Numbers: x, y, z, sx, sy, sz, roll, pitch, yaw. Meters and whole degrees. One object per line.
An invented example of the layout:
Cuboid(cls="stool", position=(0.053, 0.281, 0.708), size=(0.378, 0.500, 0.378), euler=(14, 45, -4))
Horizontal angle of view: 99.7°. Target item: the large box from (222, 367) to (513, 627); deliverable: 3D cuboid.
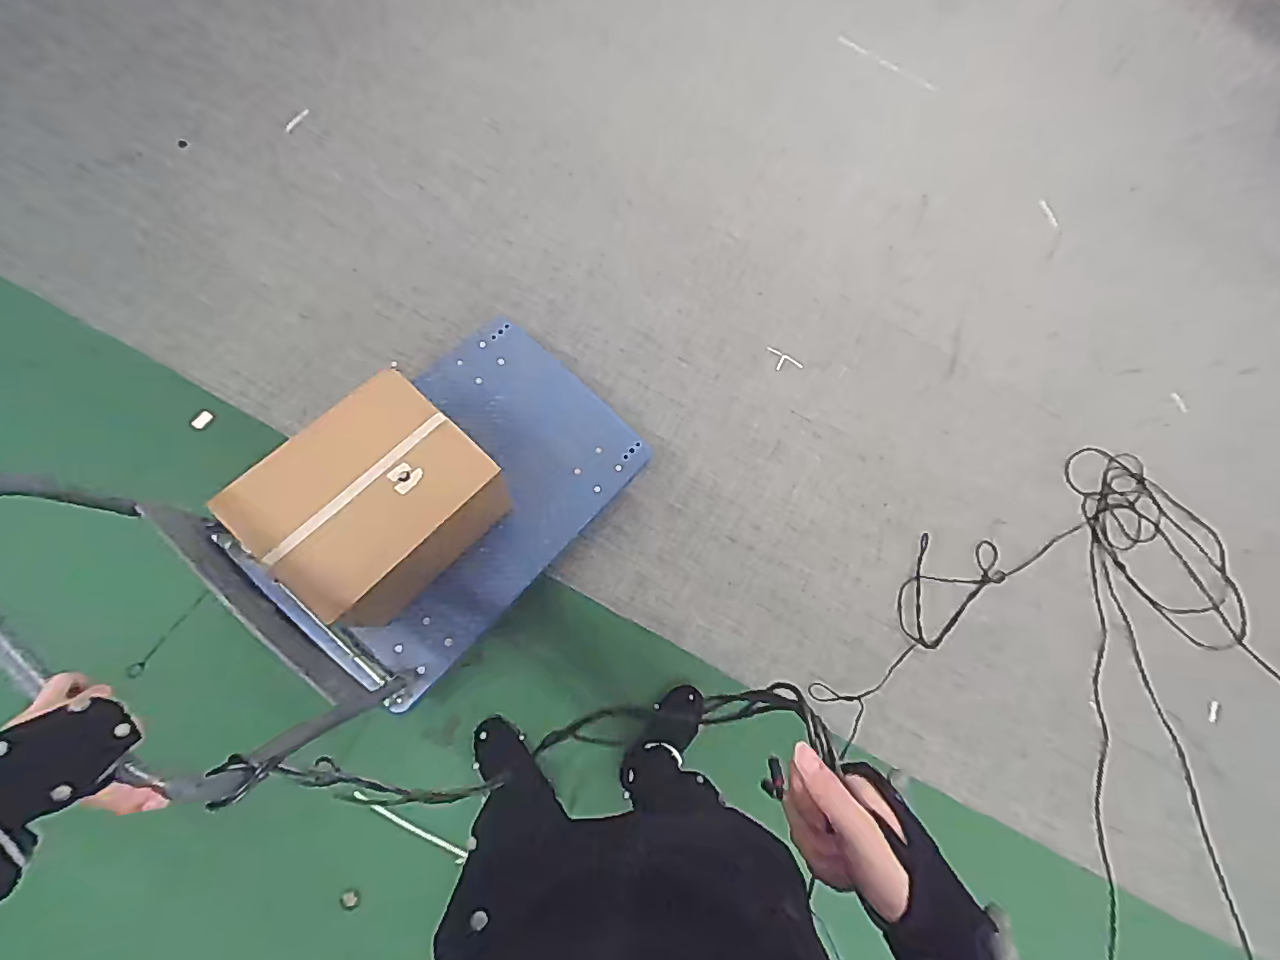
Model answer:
Cuboid(cls="large box", position=(-0.527, 0.052, 1.143), size=(0.320, 0.320, 0.408), euler=(43, 71, 4))
